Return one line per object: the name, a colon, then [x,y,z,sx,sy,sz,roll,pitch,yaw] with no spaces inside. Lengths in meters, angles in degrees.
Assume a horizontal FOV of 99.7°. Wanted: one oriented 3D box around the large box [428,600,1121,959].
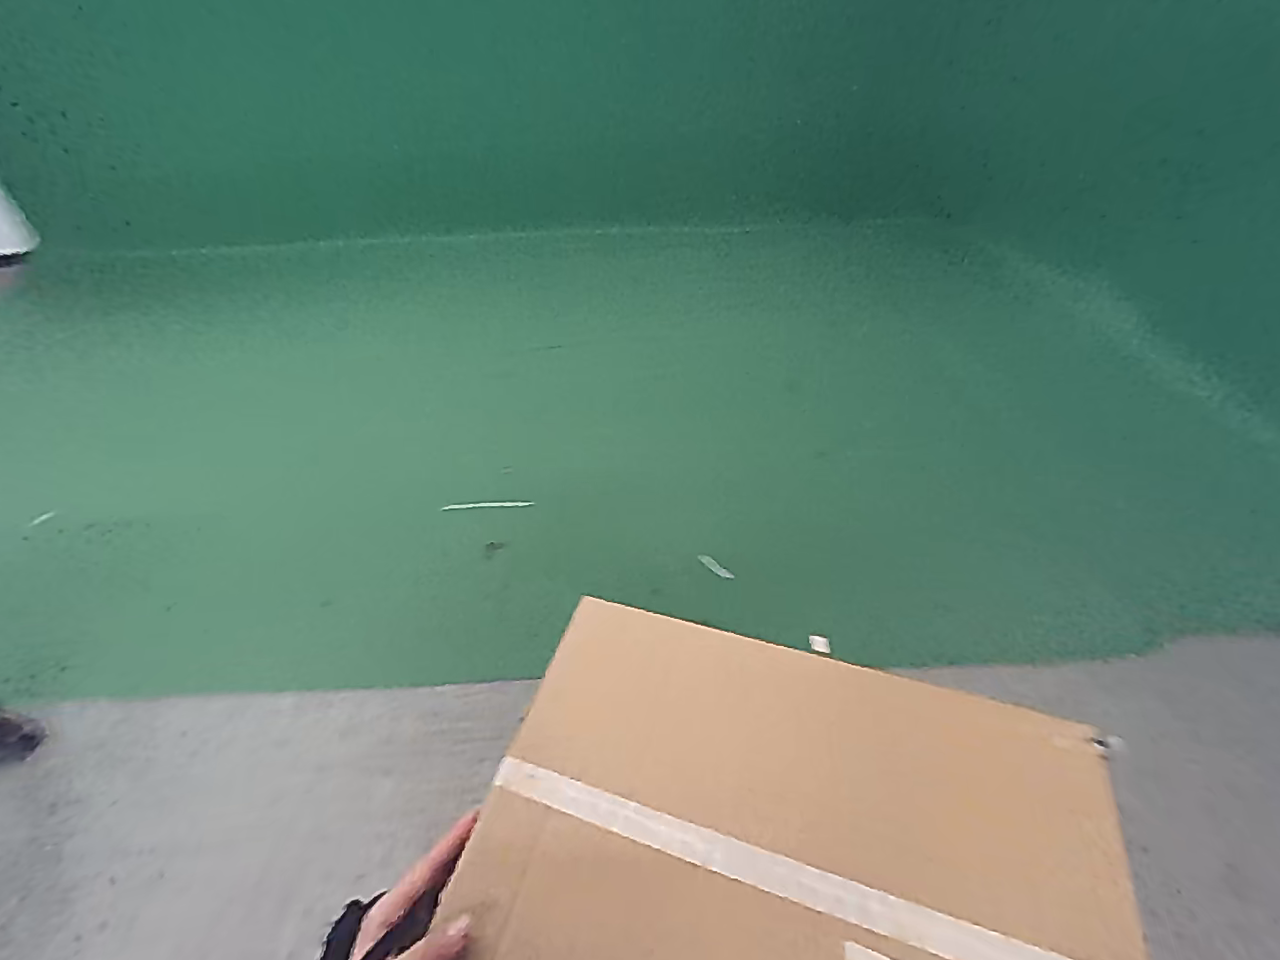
large box: [0.101,0.351,0.471,0.408,0.320,0.320,10,50,16]
